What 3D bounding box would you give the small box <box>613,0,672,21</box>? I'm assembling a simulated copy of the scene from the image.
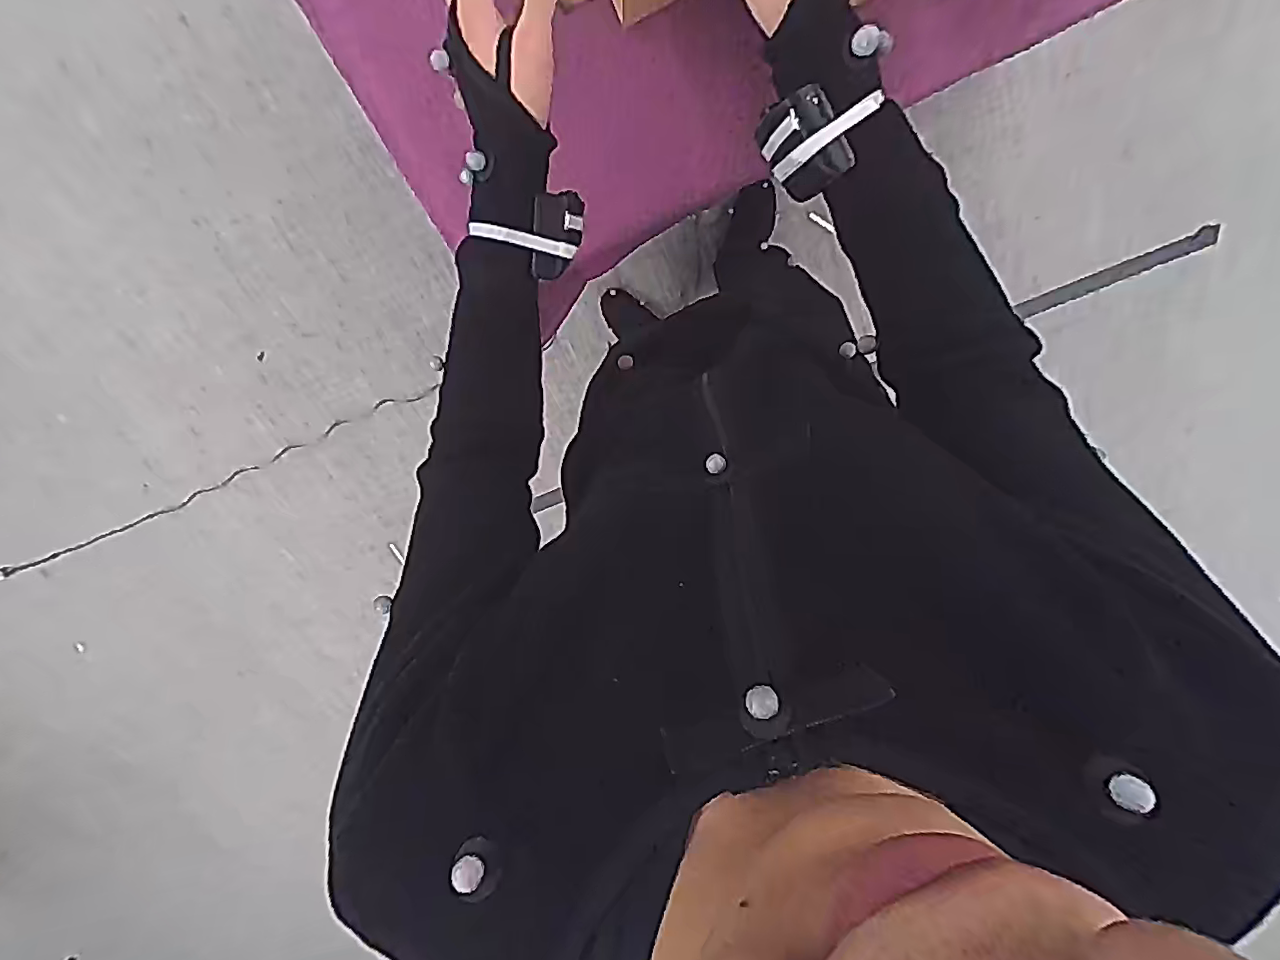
[{"bbox_3d":[0.019,-0.610,0.528,0.168,0.176,0.179,-23,113,9],"label":"small box"}]
